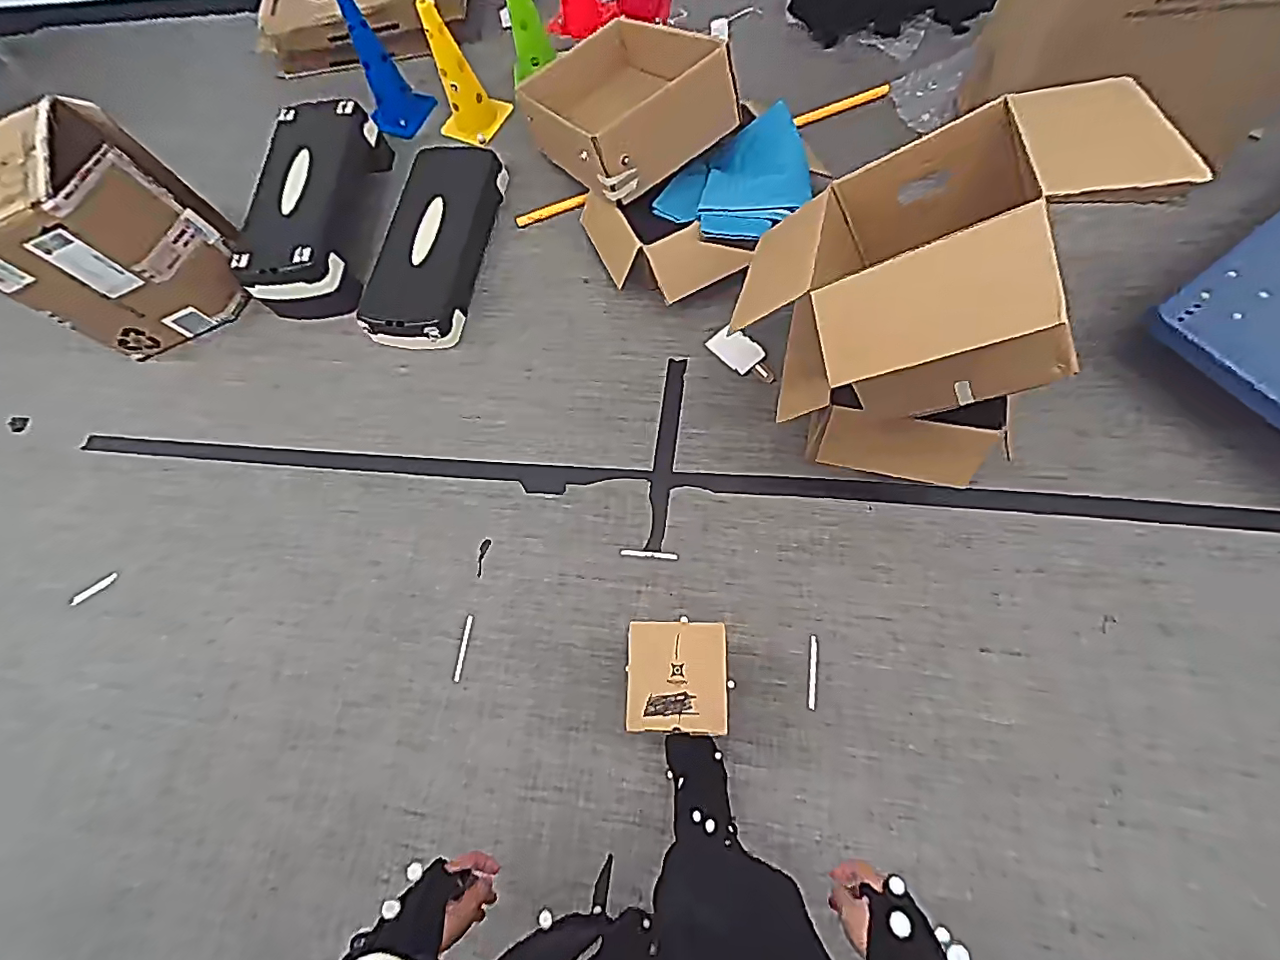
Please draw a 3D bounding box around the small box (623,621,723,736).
[{"bbox_3d":[0.066,0.351,0.973,0.168,0.176,0.179,-1,71,7],"label":"small box"}]
